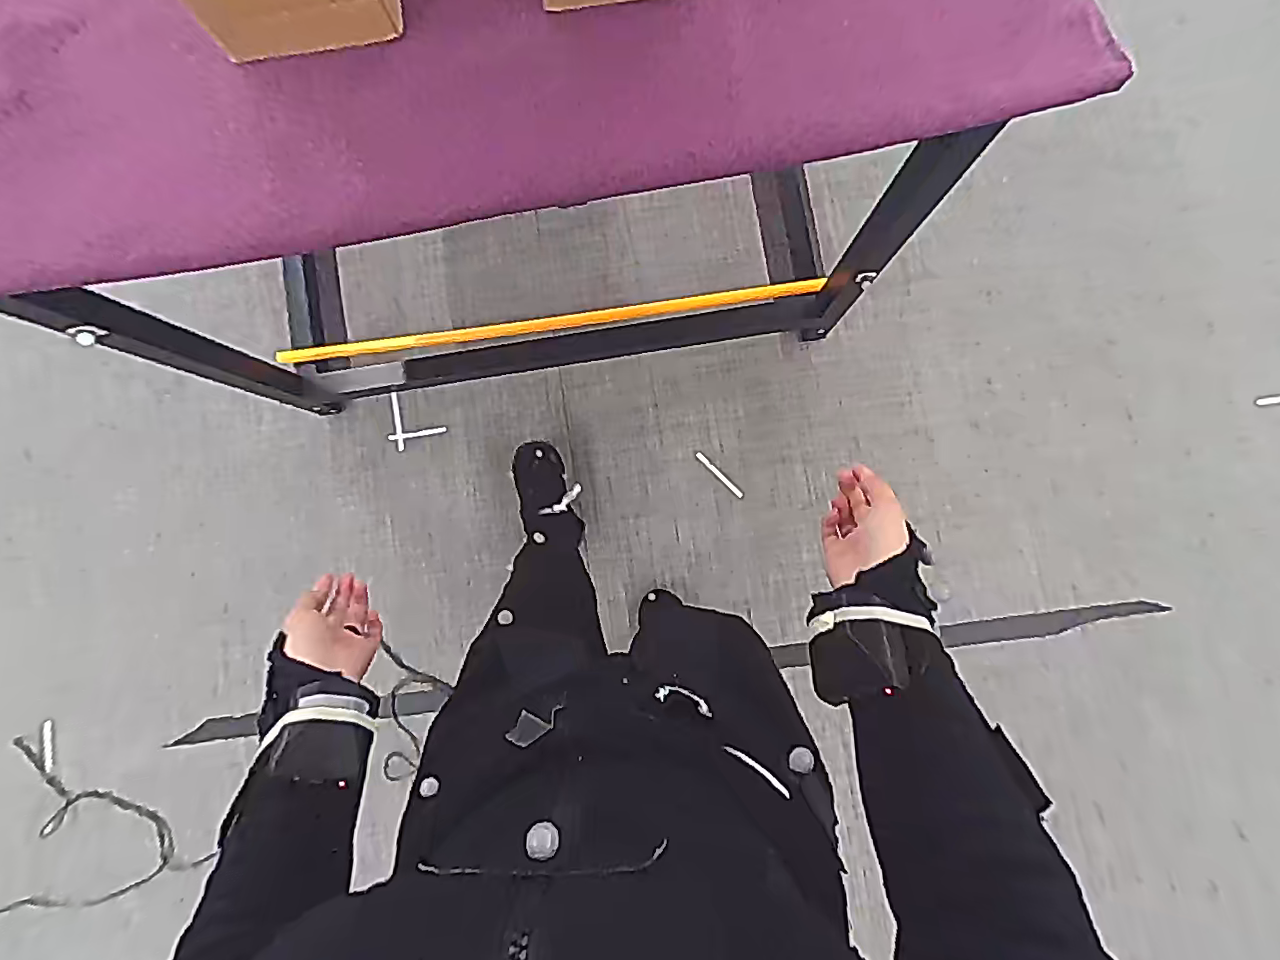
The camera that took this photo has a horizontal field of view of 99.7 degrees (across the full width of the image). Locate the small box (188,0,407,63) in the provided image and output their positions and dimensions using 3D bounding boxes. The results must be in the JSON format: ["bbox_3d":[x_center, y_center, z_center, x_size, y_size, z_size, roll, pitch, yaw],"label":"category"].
[{"bbox_3d":[-0.333,-0.513,0.475,0.179,0.176,0.168,-8,84,0],"label":"small box"}]
